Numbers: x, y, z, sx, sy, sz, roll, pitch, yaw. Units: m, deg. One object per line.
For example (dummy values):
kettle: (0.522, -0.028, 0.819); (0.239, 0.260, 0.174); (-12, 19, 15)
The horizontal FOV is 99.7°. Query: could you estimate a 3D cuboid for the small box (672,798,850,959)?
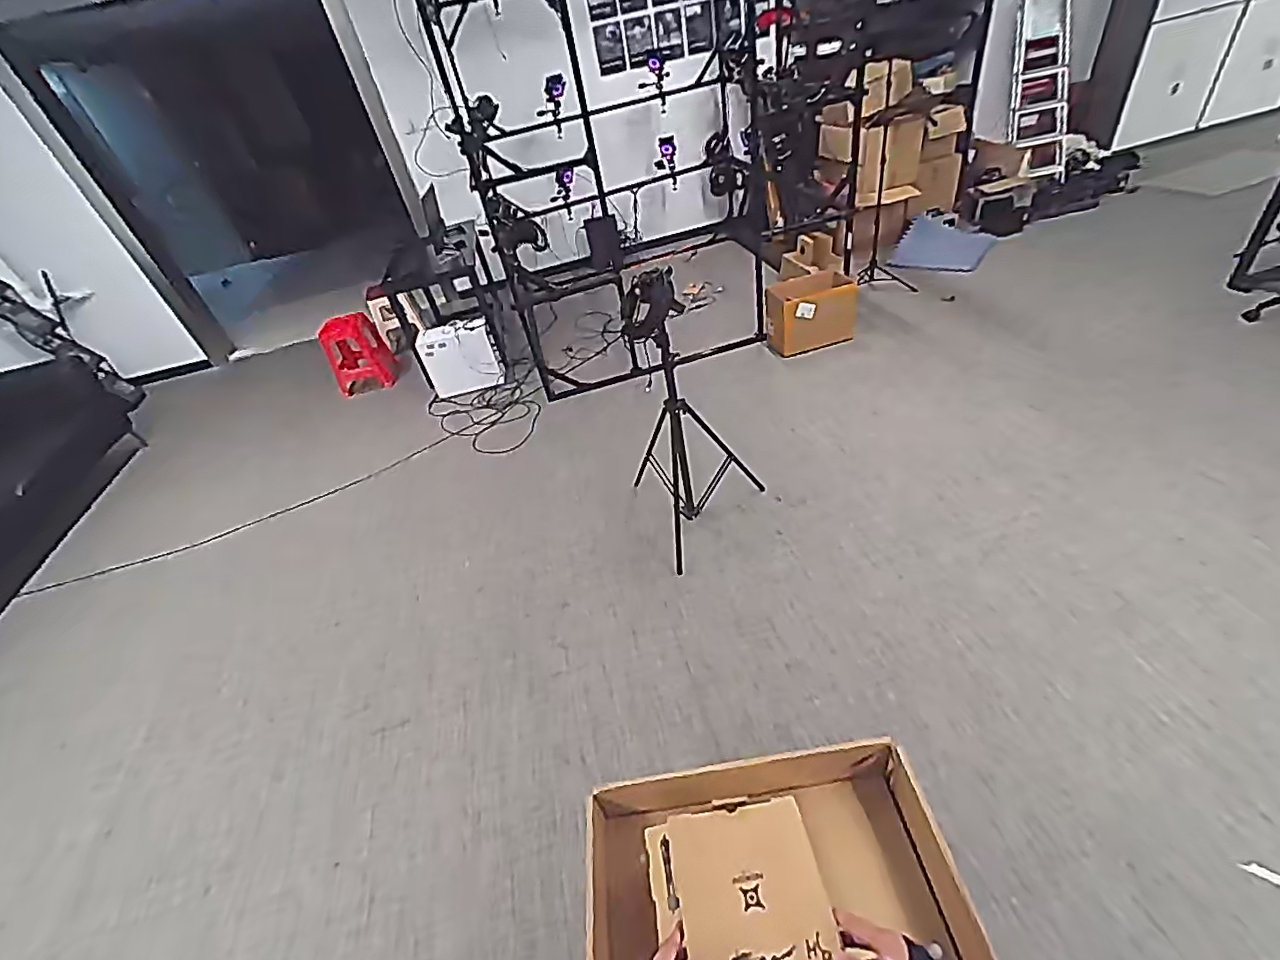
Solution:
small box: (0.132, 0.523, 0.654); (0.168, 0.176, 0.179); (-8, 38, -3)
